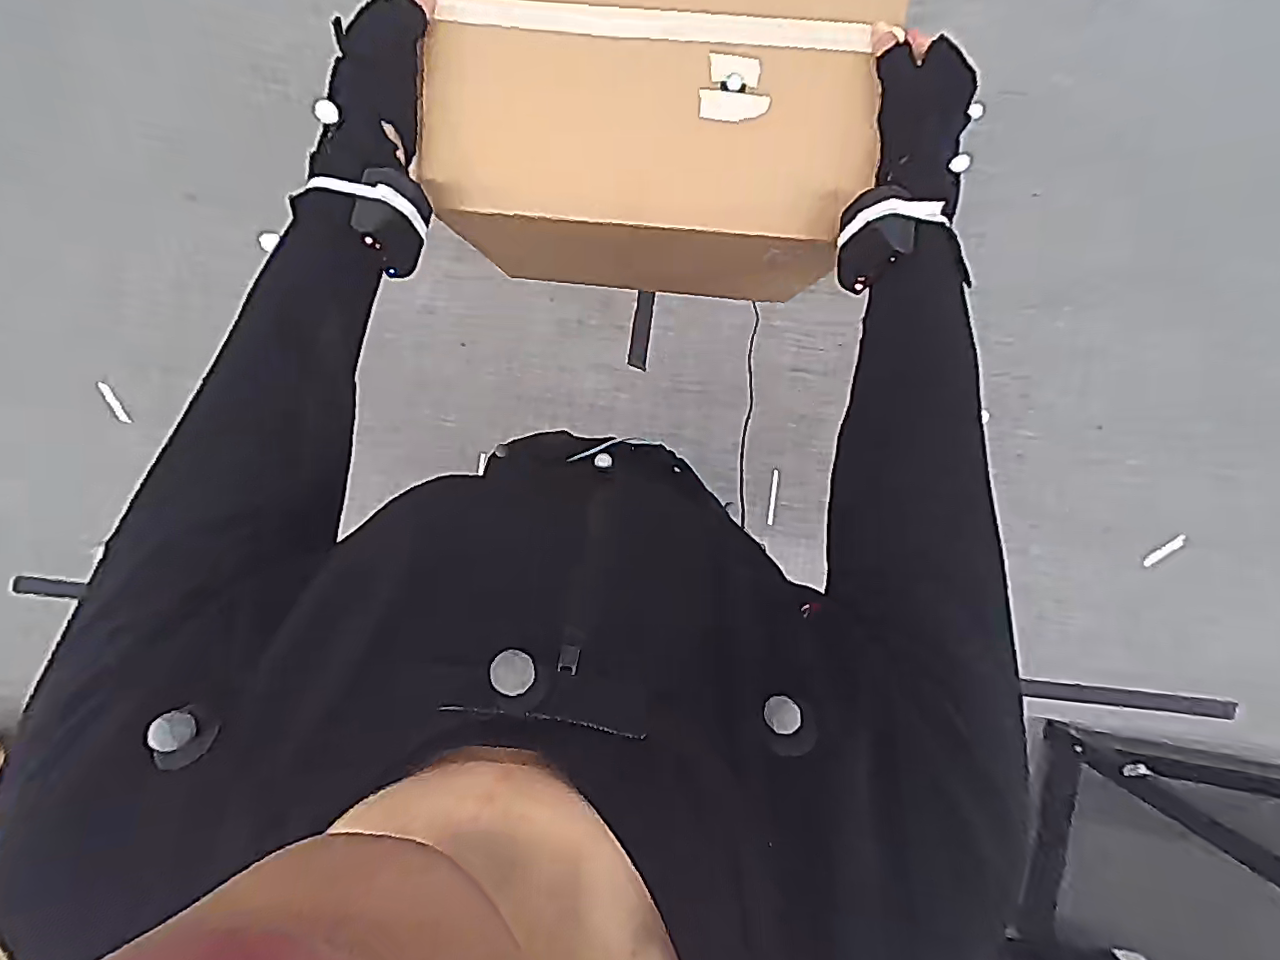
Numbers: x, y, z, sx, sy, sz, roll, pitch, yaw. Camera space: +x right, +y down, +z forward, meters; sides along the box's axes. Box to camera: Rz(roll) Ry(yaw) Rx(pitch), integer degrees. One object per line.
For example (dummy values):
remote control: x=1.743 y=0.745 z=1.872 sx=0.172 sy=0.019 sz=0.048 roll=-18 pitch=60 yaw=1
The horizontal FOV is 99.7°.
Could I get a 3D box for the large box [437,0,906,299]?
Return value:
large box: x=0.026 y=-0.404 z=0.612 sx=0.408 sy=0.320 sz=0.320 roll=5 pitch=99 yaw=0
